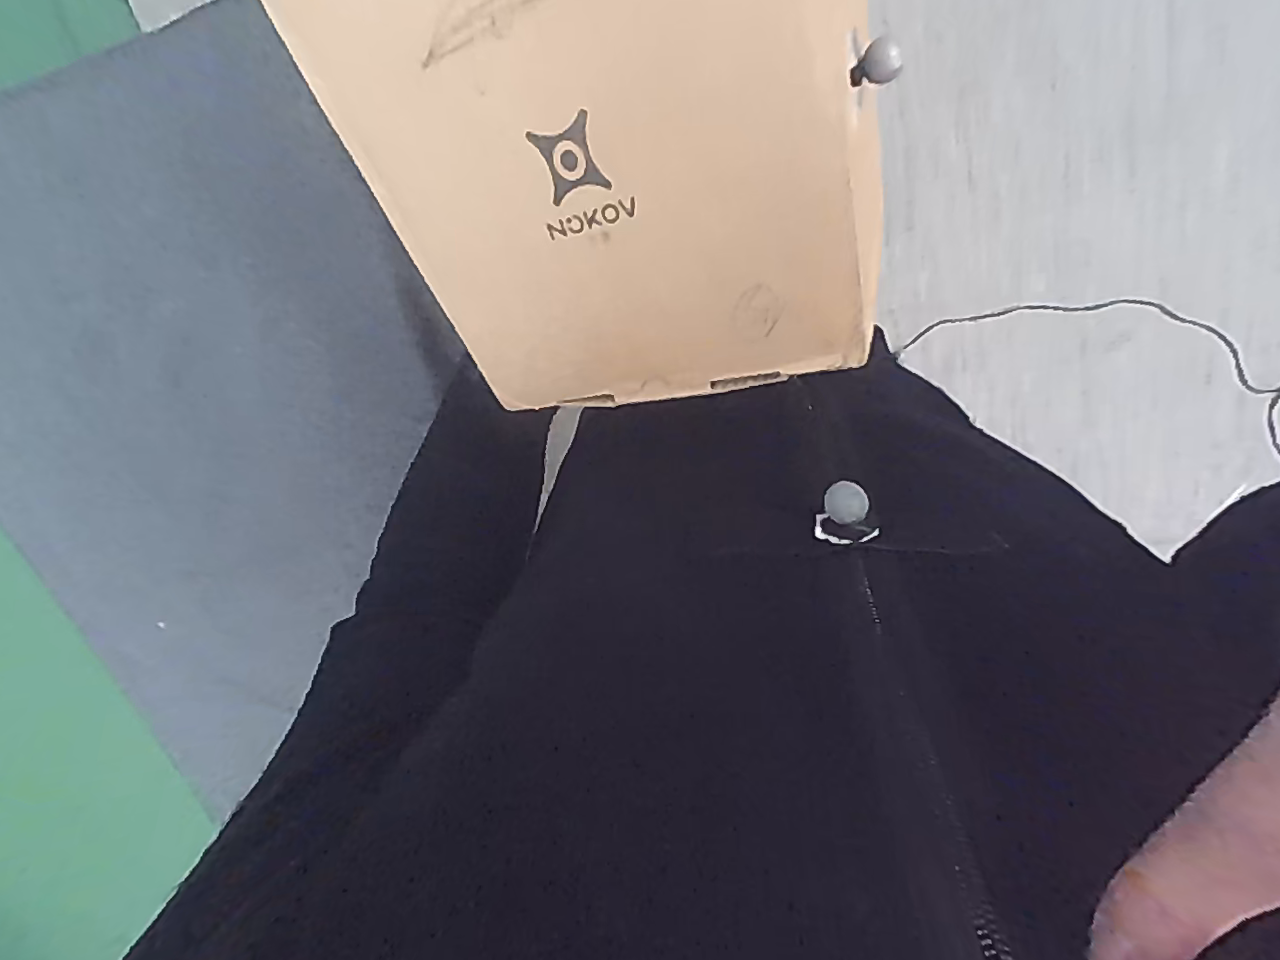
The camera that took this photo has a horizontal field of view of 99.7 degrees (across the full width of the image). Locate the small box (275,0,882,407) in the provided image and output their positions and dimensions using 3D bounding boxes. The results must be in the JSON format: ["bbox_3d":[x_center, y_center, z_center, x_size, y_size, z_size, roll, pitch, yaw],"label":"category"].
[{"bbox_3d":[0.007,-0.156,0.228,0.168,0.176,0.179,-4,130,27],"label":"small box"}]
